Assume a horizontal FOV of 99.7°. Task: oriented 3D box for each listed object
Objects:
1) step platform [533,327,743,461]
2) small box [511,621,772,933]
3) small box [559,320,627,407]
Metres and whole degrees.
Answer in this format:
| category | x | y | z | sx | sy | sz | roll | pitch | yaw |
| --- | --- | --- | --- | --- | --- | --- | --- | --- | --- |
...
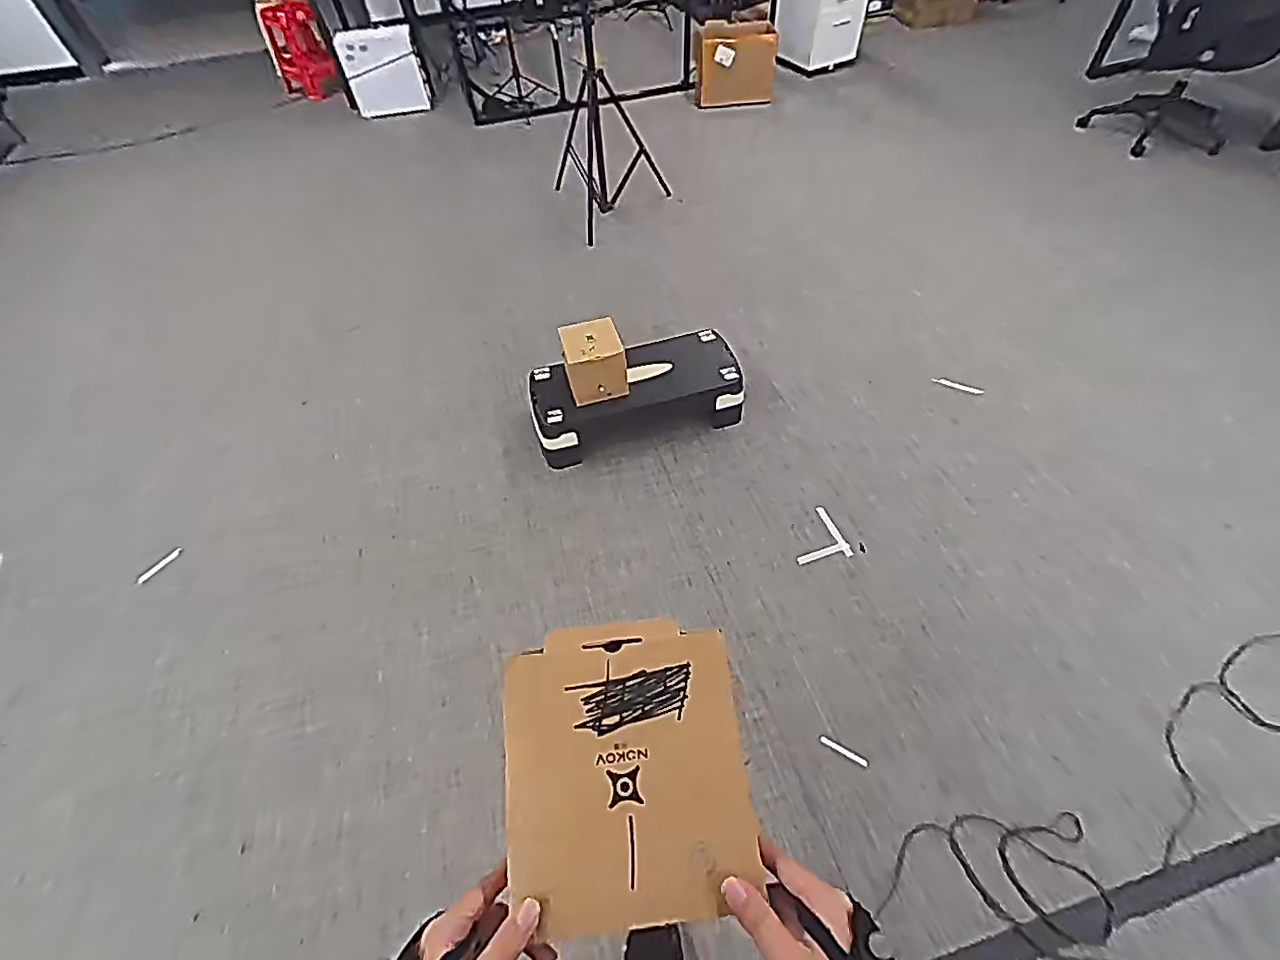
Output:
| category | x | y | z | sx | sy | sz | roll | pitch | yaw |
| --- | --- | --- | --- | --- | --- | --- | --- | --- | --- |
| step platform | -0.008 | -0.295 | 1.803 | 0.684 | 0.204 | 0.286 | -16 | 53 | -7 |
| small box | -0.005 | 0.224 | 0.443 | 0.168 | 0.176 | 0.179 | -7 | 68 | -1 |
| small box | -0.140 | -0.351 | 1.635 | 0.168 | 0.176 | 0.179 | -15 | 54 | -7 |
